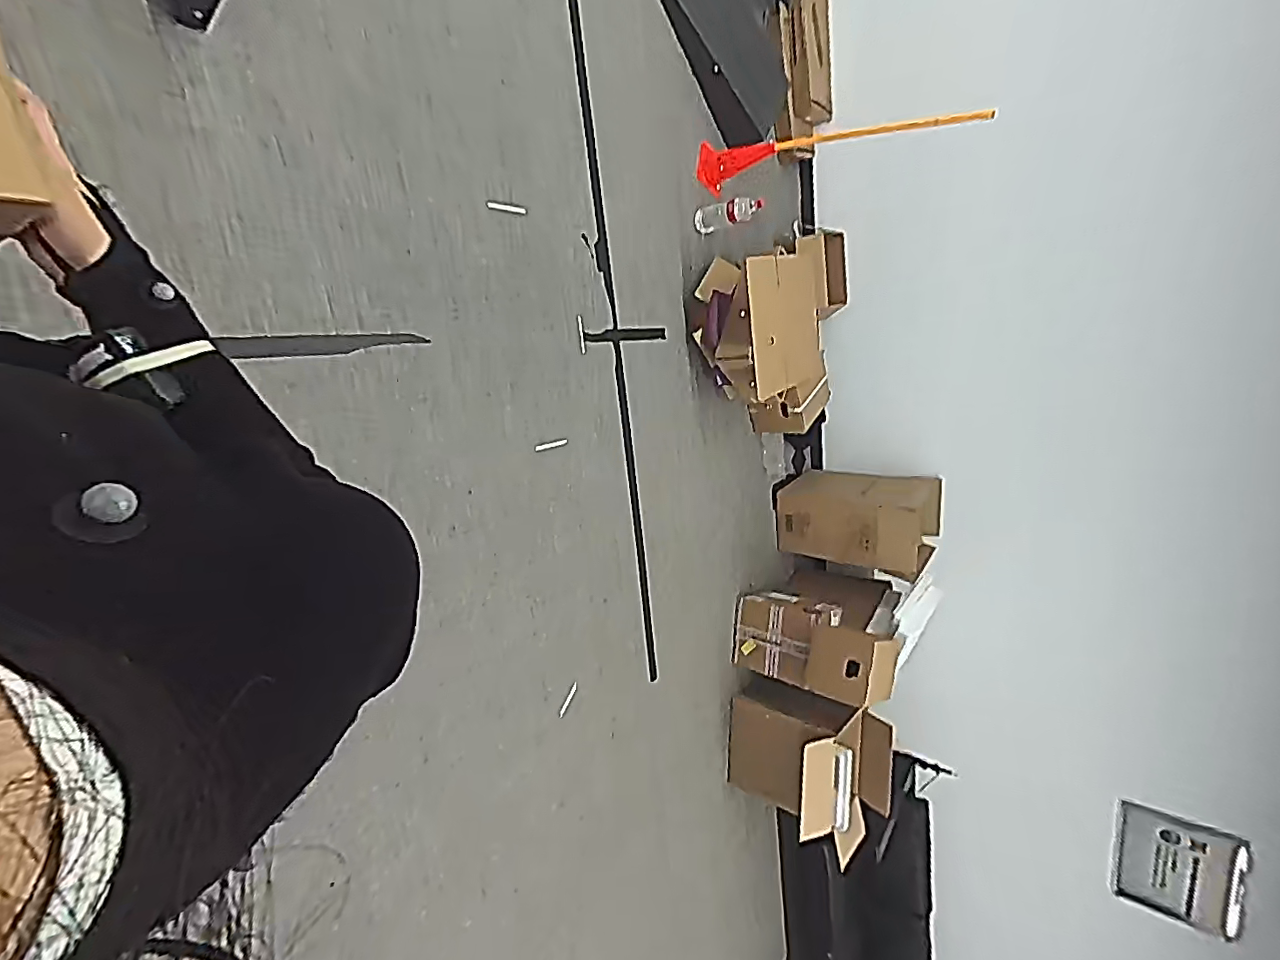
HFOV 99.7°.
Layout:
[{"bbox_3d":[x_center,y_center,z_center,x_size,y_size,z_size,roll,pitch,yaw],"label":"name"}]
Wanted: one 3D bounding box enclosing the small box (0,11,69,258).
[{"bbox_3d":[-0.450,-0.212,0.264,0.168,0.176,0.179,-31,117,-57],"label":"small box"}]
